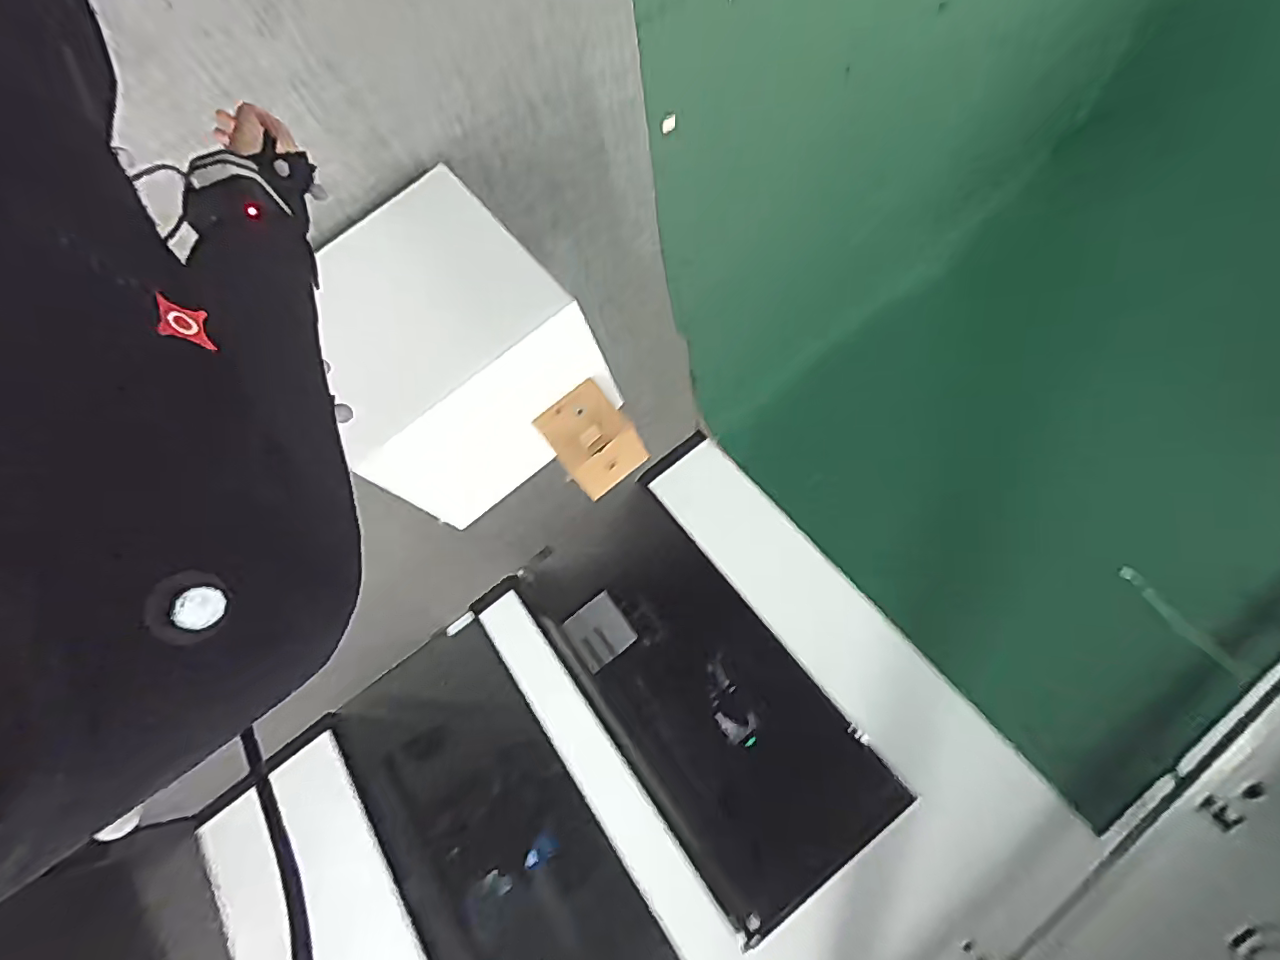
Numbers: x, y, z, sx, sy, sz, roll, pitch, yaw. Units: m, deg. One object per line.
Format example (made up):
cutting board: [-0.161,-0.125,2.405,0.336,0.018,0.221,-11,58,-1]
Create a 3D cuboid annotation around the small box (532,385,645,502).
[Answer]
small box: [-0.115,-0.084,1.235,0.168,0.176,0.179,-38,155,-3]
